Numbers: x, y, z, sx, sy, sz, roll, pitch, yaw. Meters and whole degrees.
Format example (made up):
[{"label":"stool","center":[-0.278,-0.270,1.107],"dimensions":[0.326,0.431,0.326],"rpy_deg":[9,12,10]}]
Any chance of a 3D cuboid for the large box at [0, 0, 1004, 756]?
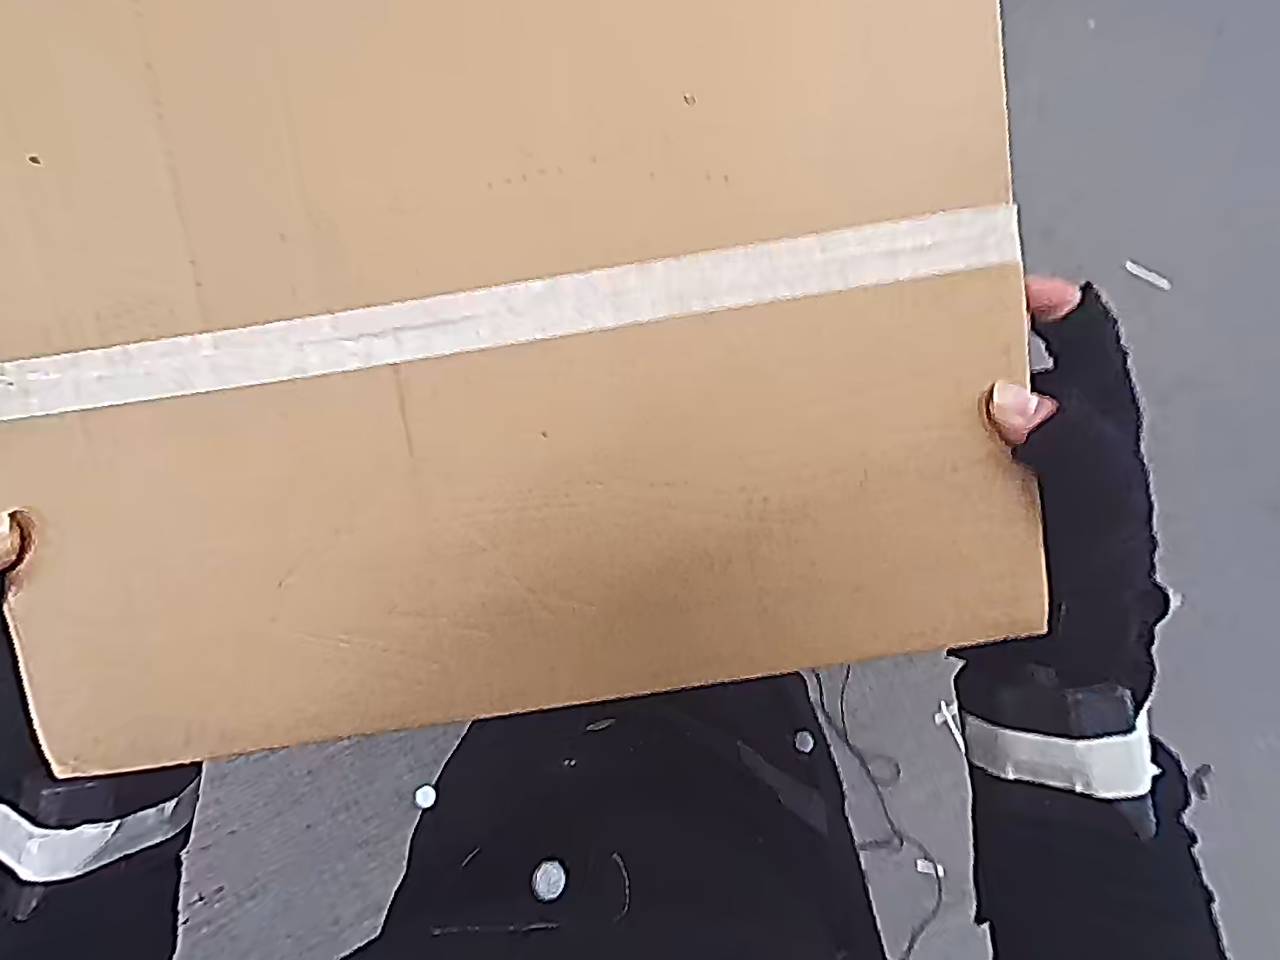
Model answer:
[{"label":"large box","center":[-0.060,-0.076,0.366],"dimensions":[0.408,0.320,0.320],"rpy_deg":[-9,95,1]}]
